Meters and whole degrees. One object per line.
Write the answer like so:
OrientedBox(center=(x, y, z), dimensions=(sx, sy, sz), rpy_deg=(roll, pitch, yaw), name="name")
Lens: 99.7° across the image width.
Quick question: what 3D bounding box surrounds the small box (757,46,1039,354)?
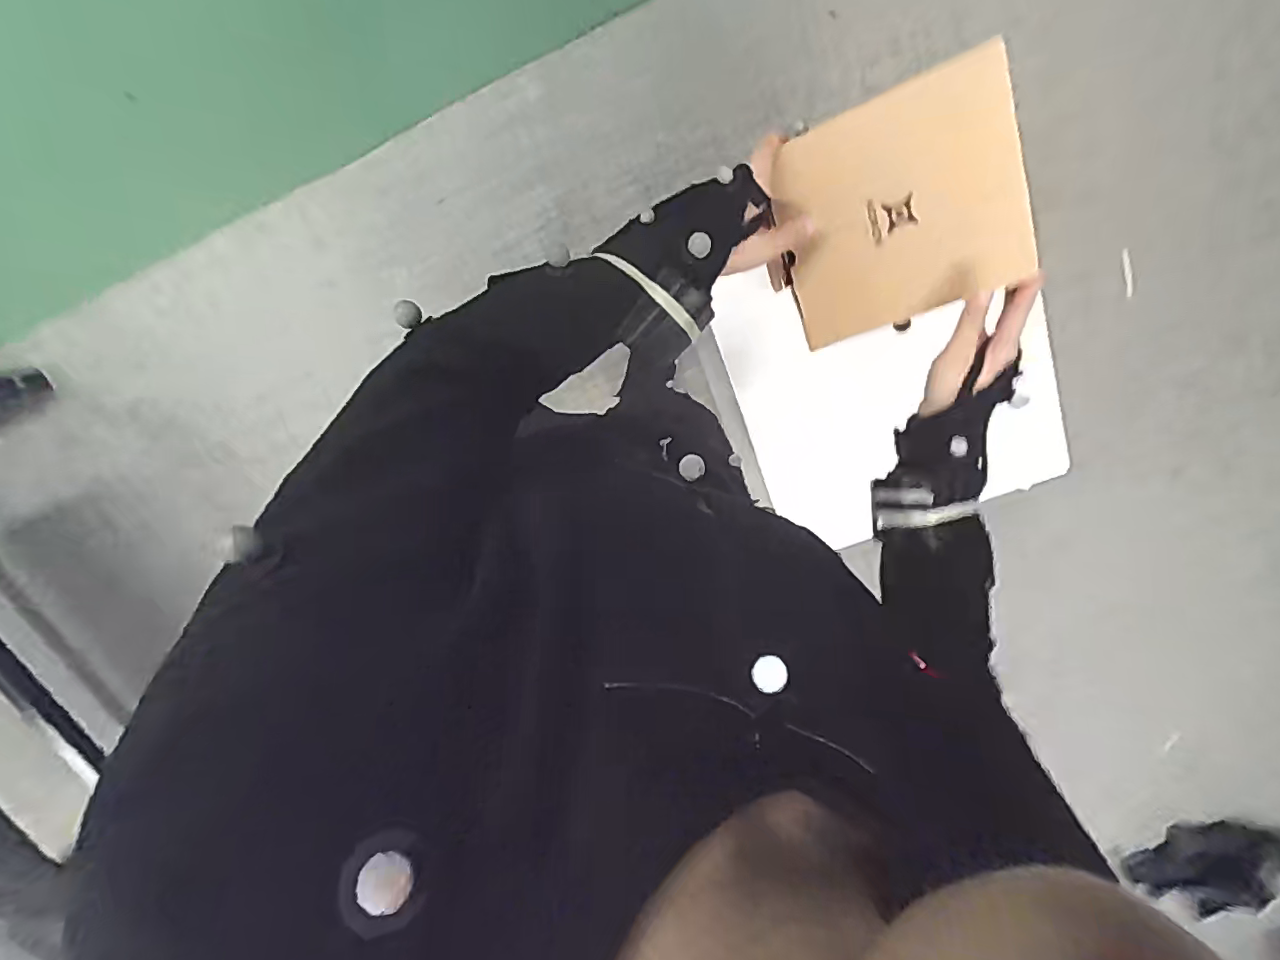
OrientedBox(center=(0.219, -0.236, 0.486), dimensions=(0.179, 0.176, 0.168), rpy_deg=(-15, 110, 25), name="small box")
